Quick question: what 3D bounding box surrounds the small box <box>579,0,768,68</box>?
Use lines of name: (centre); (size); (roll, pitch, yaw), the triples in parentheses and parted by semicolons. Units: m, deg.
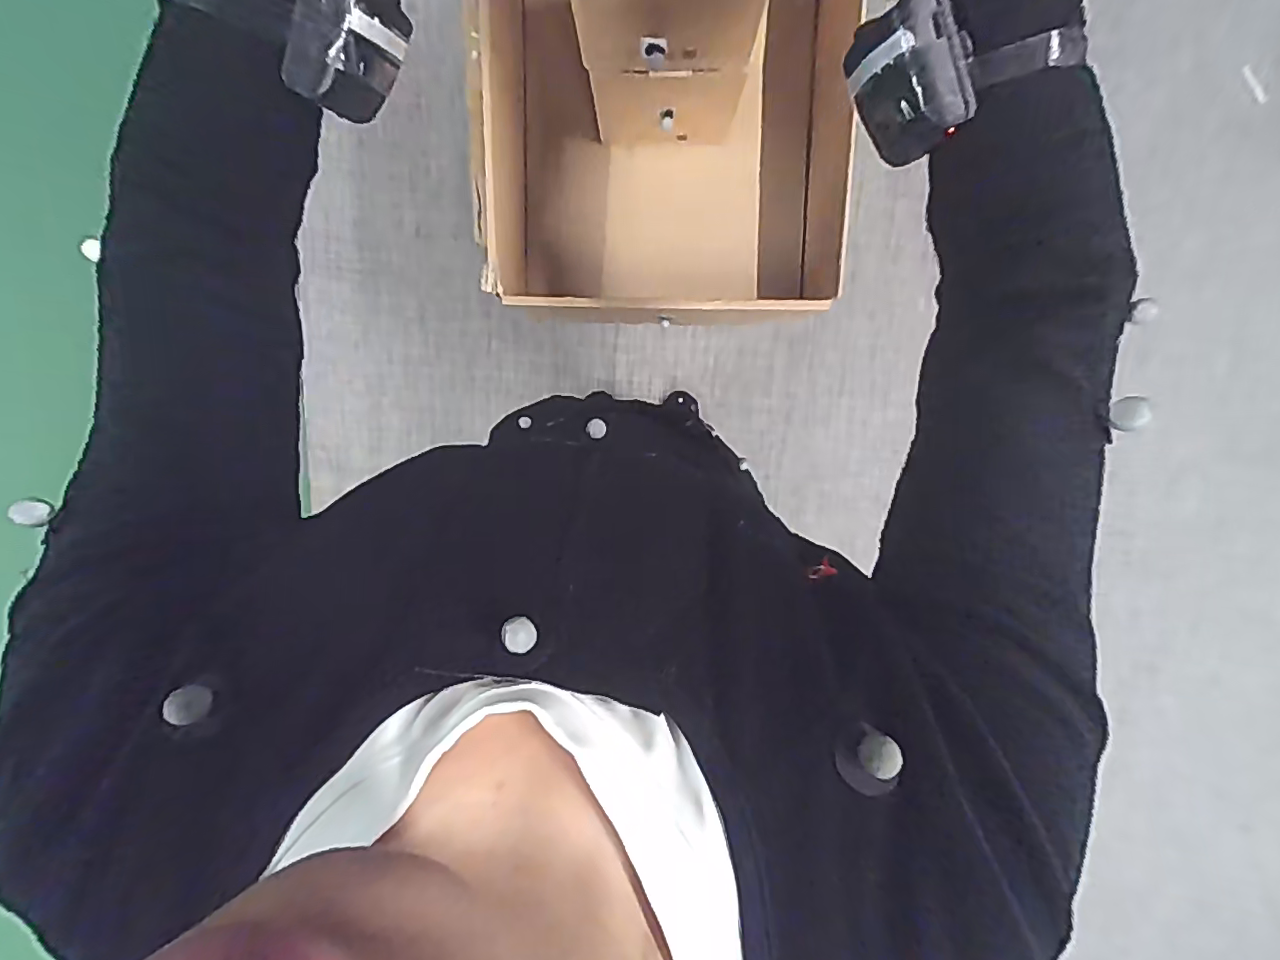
small box: (0.027, -0.487, 0.448); (0.168, 0.176, 0.179); (-1, 100, 2)
